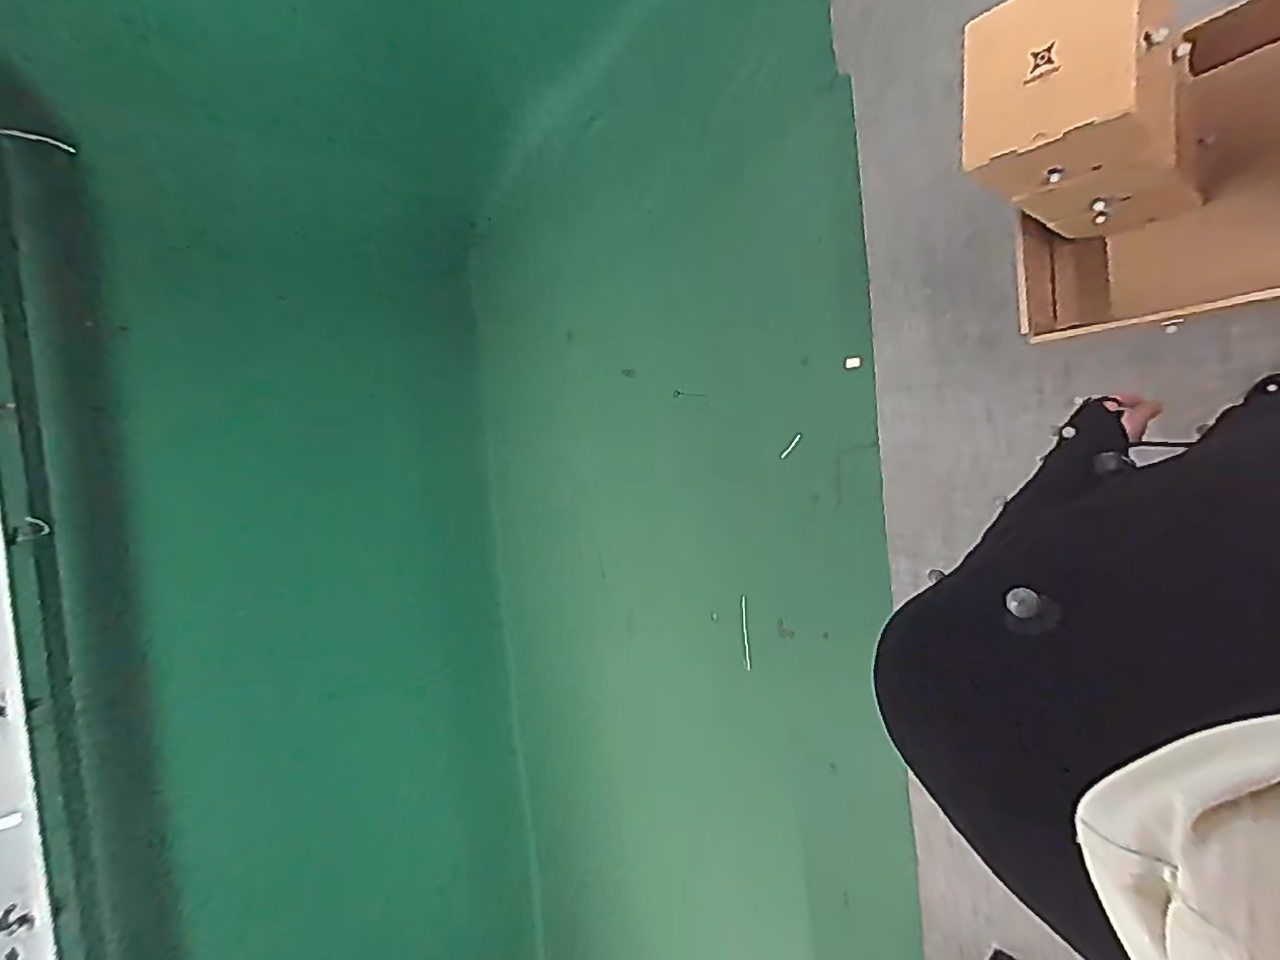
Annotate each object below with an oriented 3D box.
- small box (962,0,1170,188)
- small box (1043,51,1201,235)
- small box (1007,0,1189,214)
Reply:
[{"bbox_3d":[0.518,-0.491,0.660,0.168,0.176,0.179,5,100,51],"label":"small box"},{"bbox_3d":[0.770,-0.520,0.865,0.168,0.176,0.179,1,96,51],"label":"small box"},{"bbox_3d":[0.643,-0.506,0.763,0.168,0.176,0.179,4,99,52],"label":"small box"}]
